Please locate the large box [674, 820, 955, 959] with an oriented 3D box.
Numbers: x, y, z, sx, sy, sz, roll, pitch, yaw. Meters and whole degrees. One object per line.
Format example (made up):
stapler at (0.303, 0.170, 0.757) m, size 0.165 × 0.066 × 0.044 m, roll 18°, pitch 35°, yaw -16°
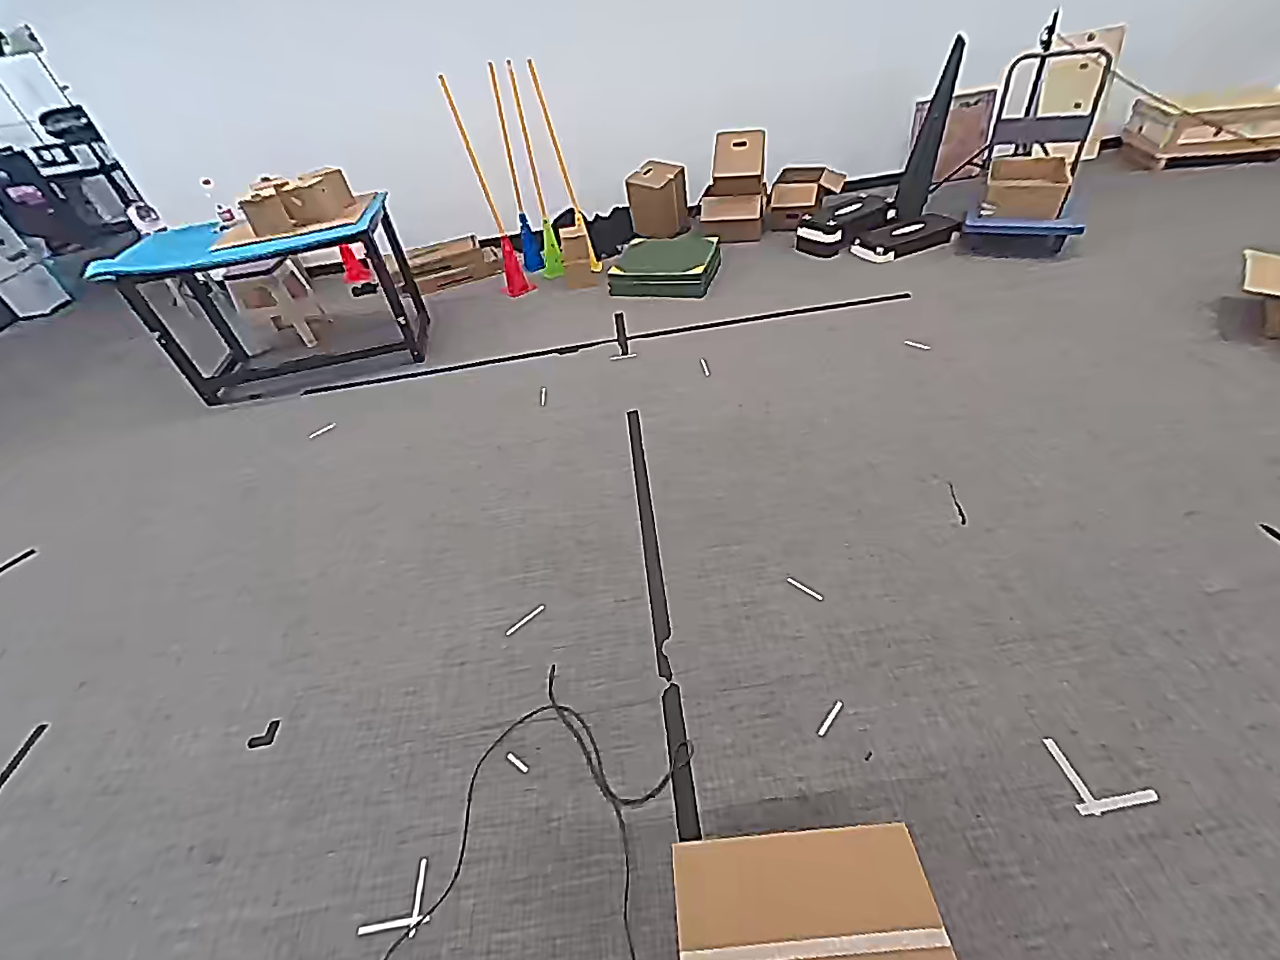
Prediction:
large box at (0.280, 0.822, 0.917) m, size 0.408 × 0.320 × 0.320 m, roll -7°, pitch 42°, yaw 2°
